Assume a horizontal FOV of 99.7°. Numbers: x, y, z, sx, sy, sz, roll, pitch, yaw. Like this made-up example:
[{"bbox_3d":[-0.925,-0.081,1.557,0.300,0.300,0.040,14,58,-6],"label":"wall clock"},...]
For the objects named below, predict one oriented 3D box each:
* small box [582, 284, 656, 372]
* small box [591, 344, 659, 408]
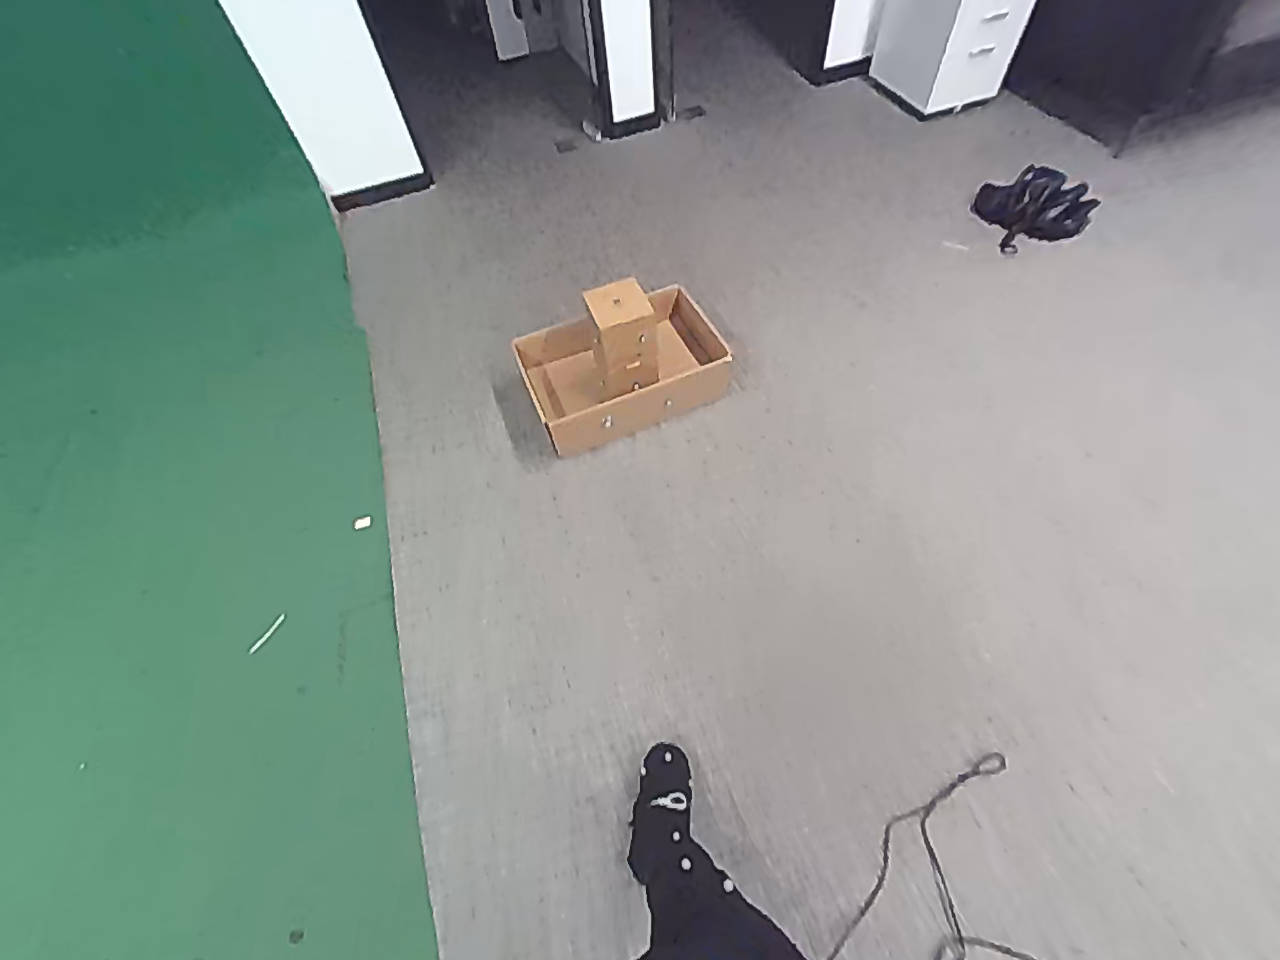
[{"bbox_3d":[-0.059,-0.444,1.611,0.168,0.176,0.179,-20,56,-8],"label":"small box"},{"bbox_3d":[-0.045,-0.353,1.745,0.168,0.176,0.179,-20,57,-7],"label":"small box"}]
